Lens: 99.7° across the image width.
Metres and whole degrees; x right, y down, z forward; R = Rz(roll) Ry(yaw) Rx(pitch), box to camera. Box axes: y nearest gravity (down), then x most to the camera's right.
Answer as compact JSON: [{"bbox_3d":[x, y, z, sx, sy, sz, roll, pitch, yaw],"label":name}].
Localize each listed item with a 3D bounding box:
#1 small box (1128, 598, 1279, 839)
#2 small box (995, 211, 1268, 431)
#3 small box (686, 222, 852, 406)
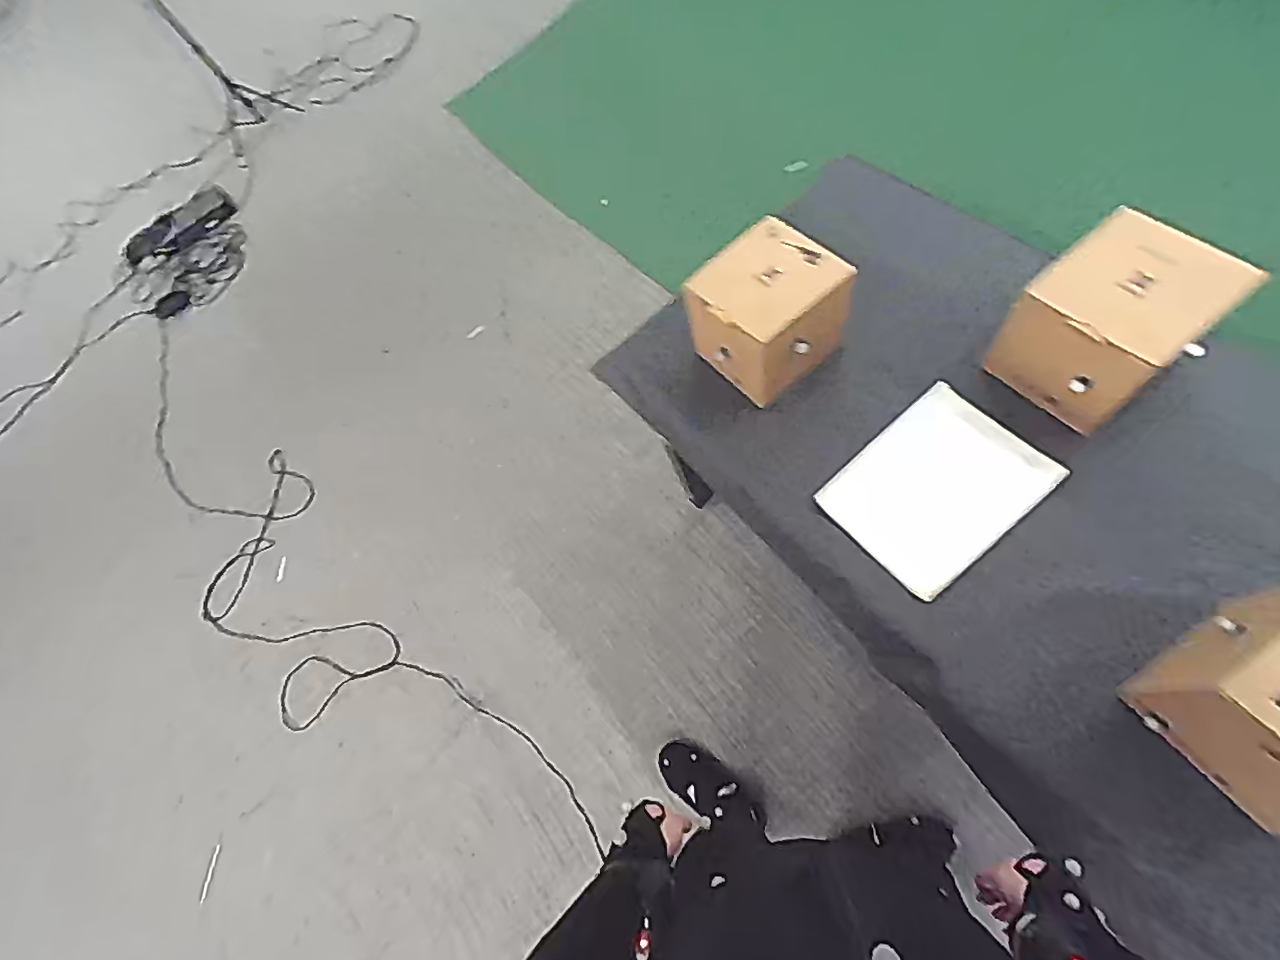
[{"bbox_3d":[0.638,0.231,0.524,0.179,0.176,0.168,-37,64,-3],"label":"small box"},{"bbox_3d":[0.600,-0.194,0.697,0.179,0.176,0.168,-39,65,-4],"label":"small box"},{"bbox_3d":[0.198,-0.247,0.838,0.179,0.176,0.168,-39,64,-5],"label":"small box"}]
